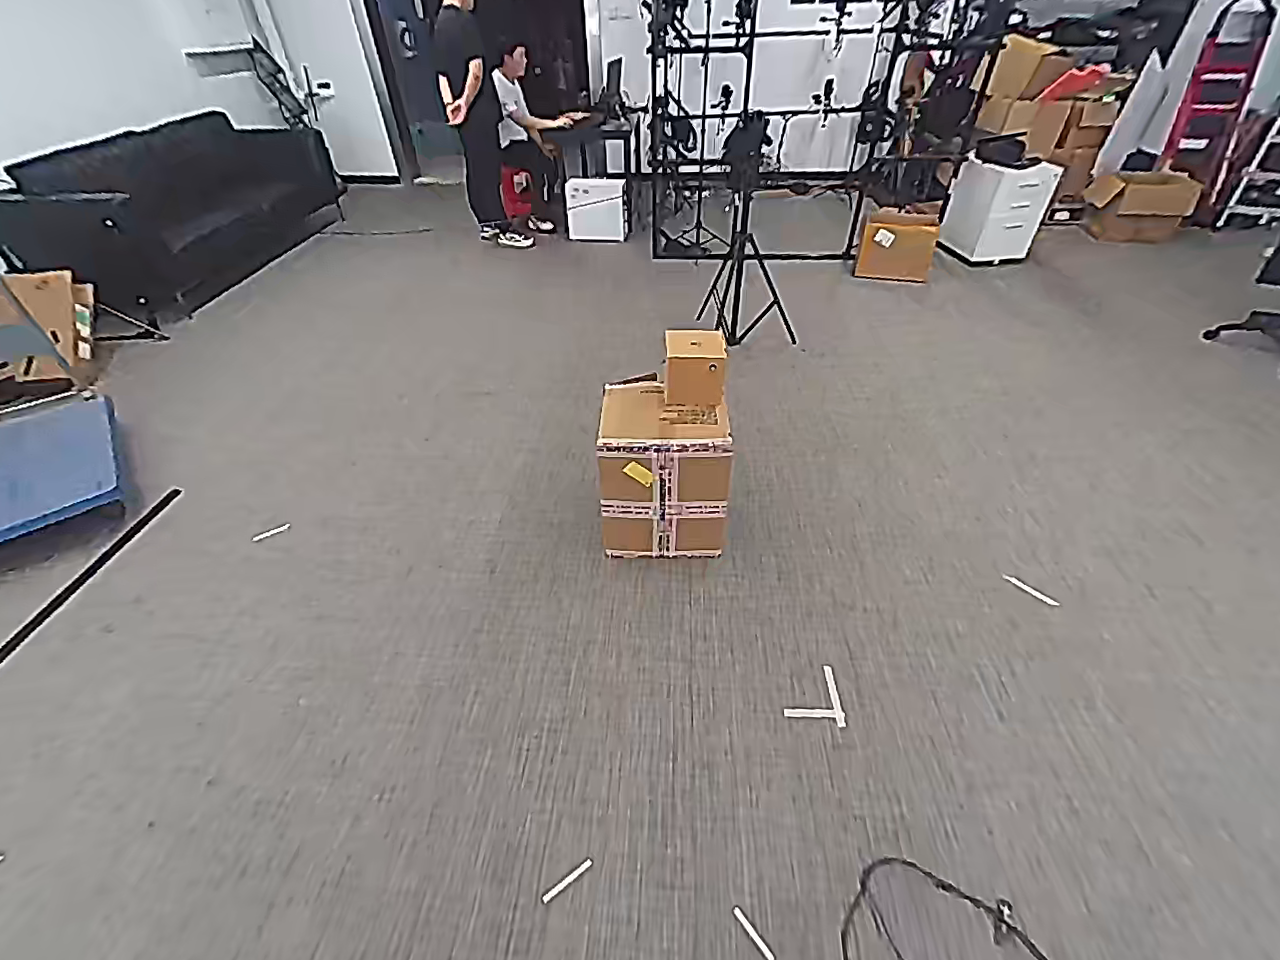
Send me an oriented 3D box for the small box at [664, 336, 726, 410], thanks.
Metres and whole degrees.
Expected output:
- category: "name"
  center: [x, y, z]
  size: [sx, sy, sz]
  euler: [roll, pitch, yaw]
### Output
- category: "small box"
  center: [0.164, -0.331, 1.678]
  size: [0.179, 0.176, 0.168]
  euler: [0, 42, -1]
